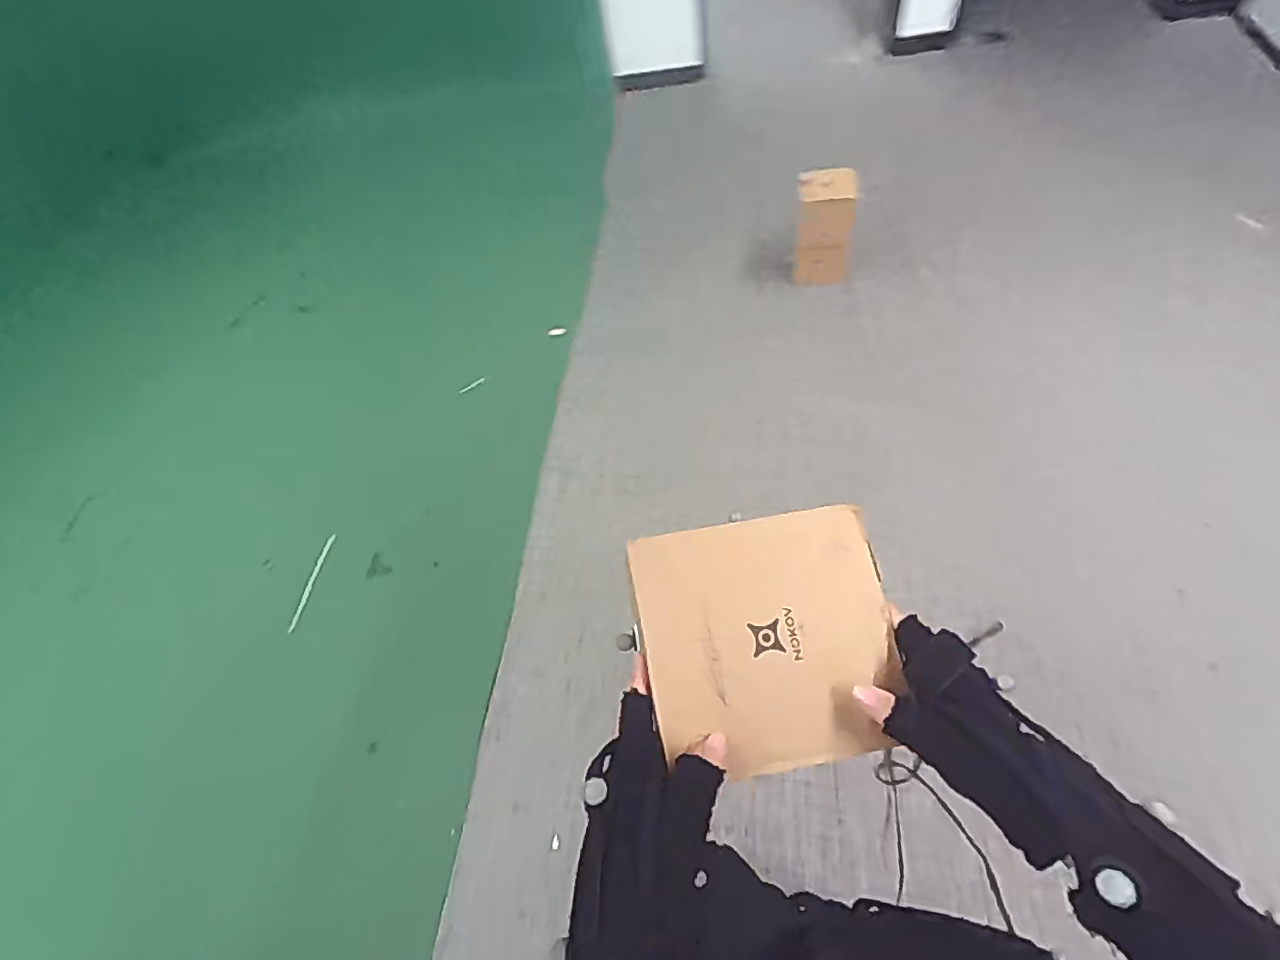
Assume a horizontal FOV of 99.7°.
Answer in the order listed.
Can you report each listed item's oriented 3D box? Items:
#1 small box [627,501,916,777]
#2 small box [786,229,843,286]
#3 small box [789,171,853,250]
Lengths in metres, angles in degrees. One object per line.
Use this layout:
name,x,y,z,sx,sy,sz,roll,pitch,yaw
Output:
small box,0.086,0.125,0.453,0.179,0.176,0.168,-9,74,-3
small box,0.626,-0.827,1.954,0.179,0.176,0.168,-1,58,12
small box,0.600,-0.899,1.813,0.179,0.176,0.168,-1,60,11
